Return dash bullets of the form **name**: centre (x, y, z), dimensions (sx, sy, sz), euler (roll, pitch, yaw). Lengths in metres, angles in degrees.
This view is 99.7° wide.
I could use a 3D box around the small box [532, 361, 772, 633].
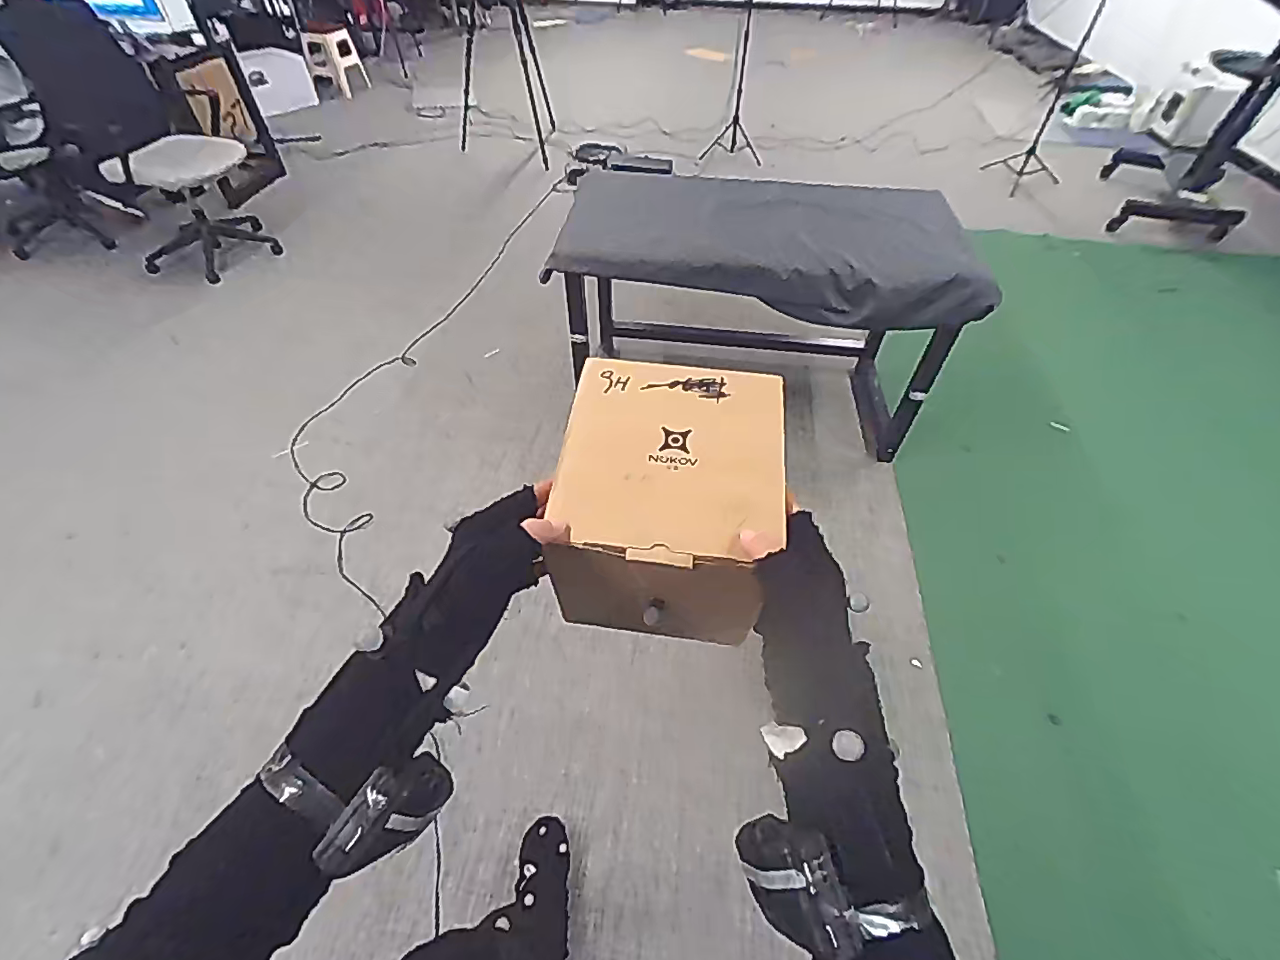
- **small box**: centre (0.018, 0.022, 0.477), dimensions (0.168, 0.176, 0.179), euler (7, 58, 4)
